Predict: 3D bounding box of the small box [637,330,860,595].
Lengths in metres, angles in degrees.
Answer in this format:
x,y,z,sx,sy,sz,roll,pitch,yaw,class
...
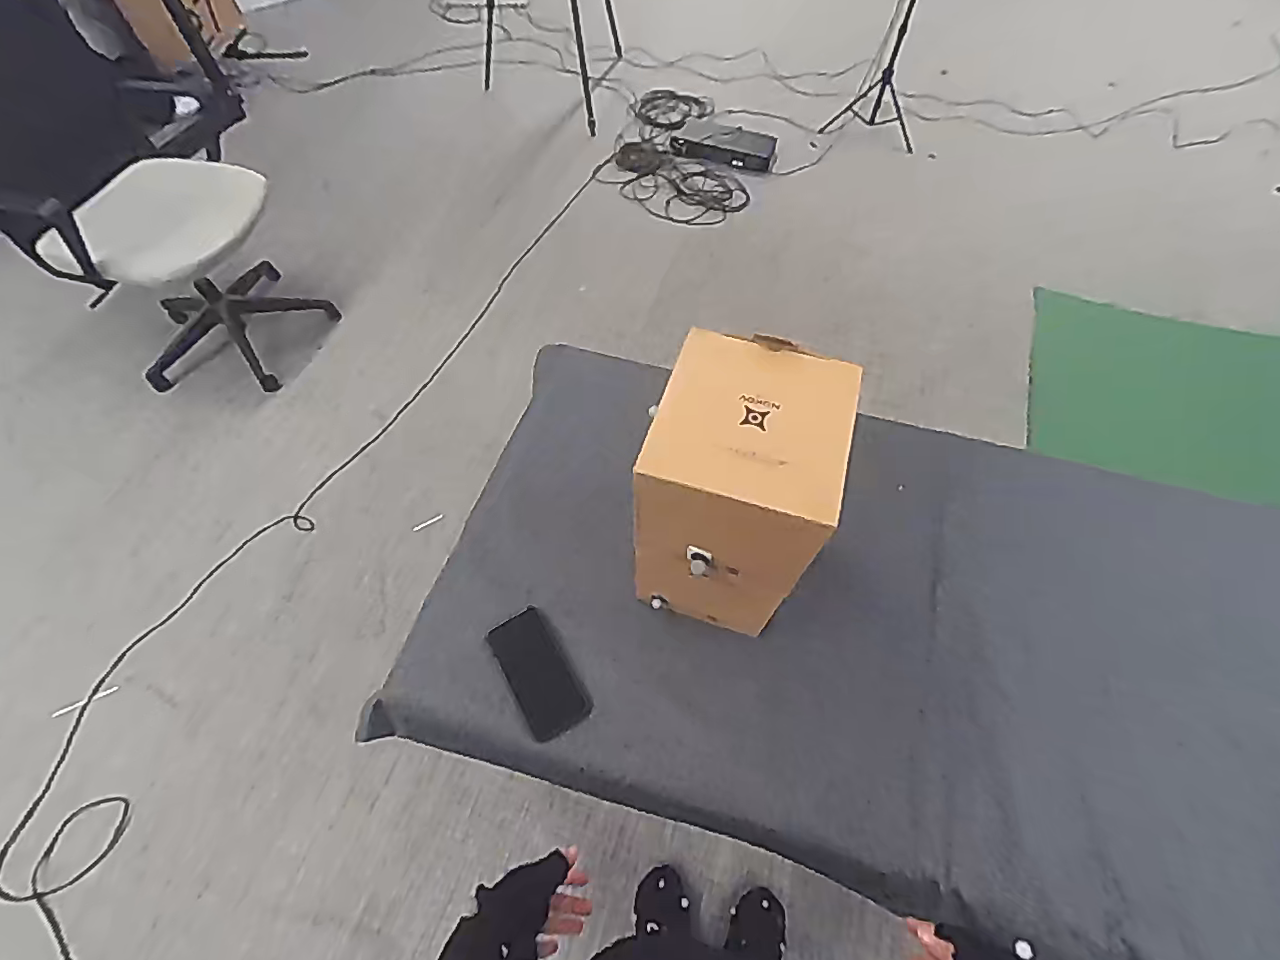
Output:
x,y,z,sx,sy,sz,roll,pitch,yaw,class
0.099,-0.012,0.534,0.168,0.176,0.179,16,61,10,small box

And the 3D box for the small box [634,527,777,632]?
x,y,z,sx,sy,sz,roll,pitch,yaw,class
0.099,0.068,0.675,0.168,0.176,0.179,17,59,10,small box
